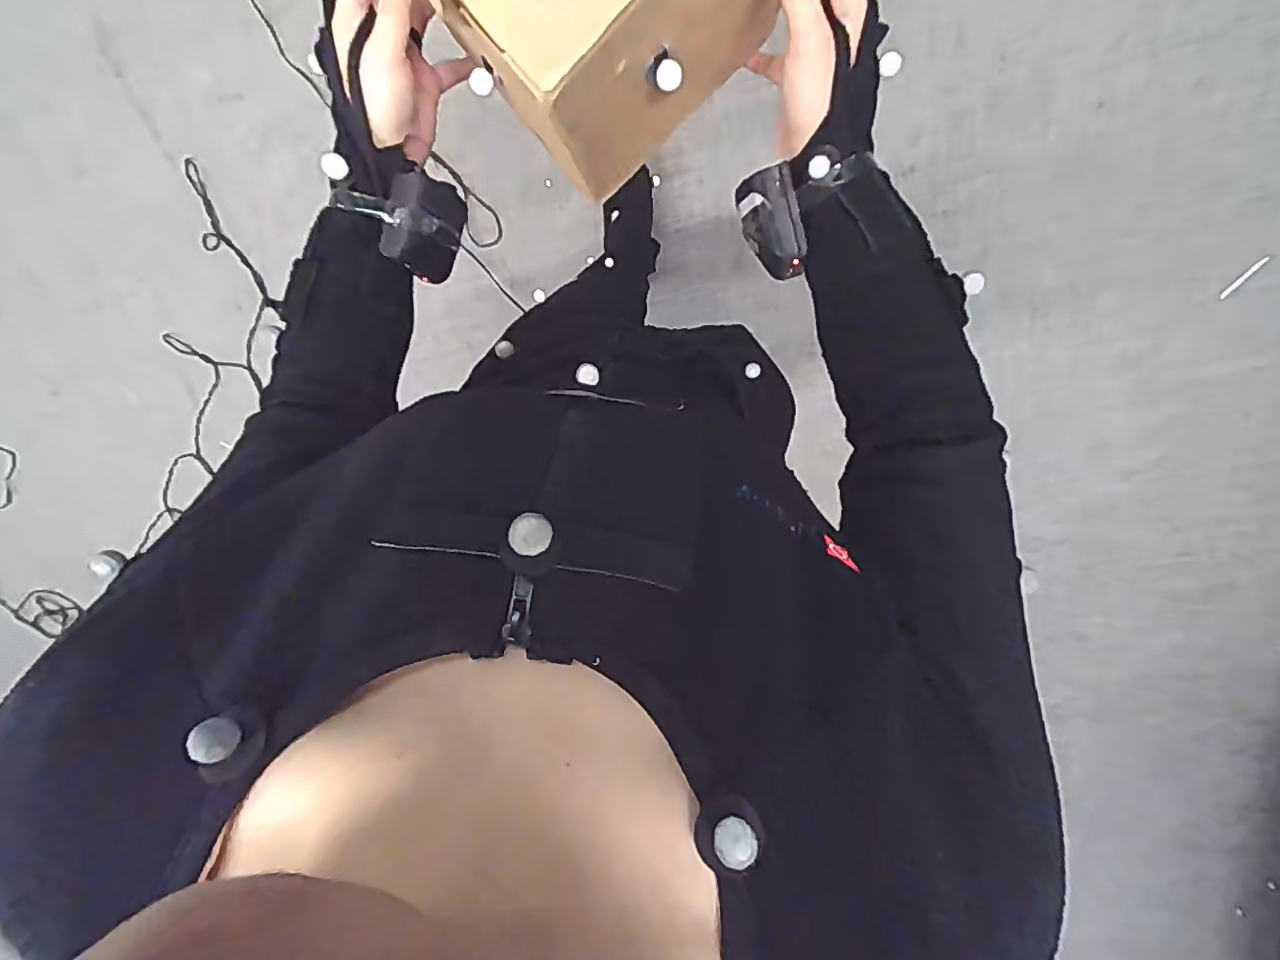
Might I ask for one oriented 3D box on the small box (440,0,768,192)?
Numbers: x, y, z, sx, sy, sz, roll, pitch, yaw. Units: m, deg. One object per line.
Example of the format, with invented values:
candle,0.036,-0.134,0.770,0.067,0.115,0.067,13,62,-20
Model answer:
small box,-0.027,-0.317,0.327,0.179,0.176,0.168,-41,95,11
